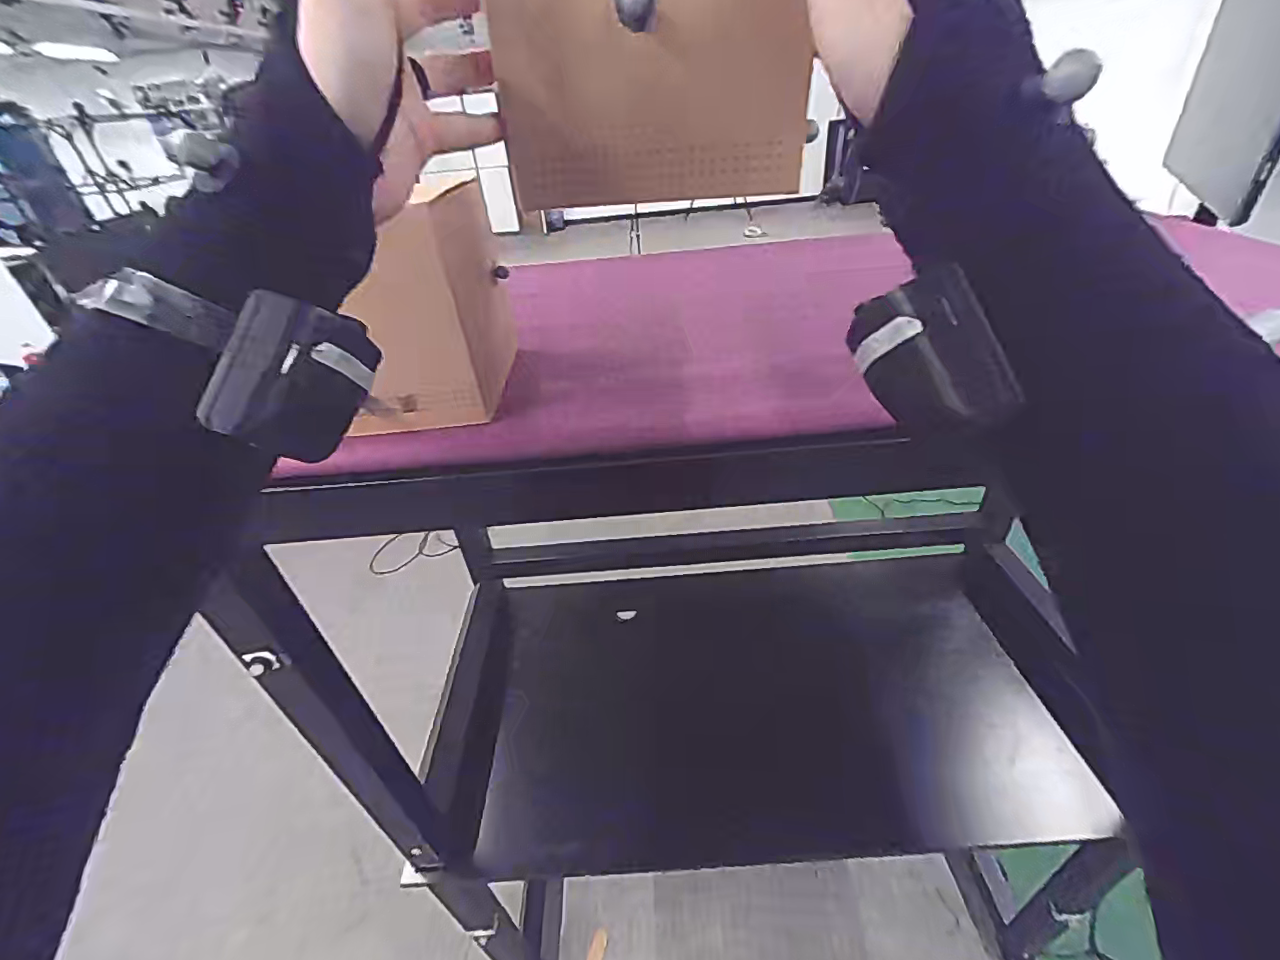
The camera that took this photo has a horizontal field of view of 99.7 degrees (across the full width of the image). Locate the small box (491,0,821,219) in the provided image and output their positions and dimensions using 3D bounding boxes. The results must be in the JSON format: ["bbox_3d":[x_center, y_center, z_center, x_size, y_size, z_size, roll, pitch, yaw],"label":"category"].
[{"bbox_3d":[0.013,-0.282,0.351,0.179,0.176,0.168,-3,37,4],"label":"small box"}]

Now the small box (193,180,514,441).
[{"bbox_3d":[-0.215,-0.151,0.471,0.168,0.176,0.179,-6,35,1],"label":"small box"}]
